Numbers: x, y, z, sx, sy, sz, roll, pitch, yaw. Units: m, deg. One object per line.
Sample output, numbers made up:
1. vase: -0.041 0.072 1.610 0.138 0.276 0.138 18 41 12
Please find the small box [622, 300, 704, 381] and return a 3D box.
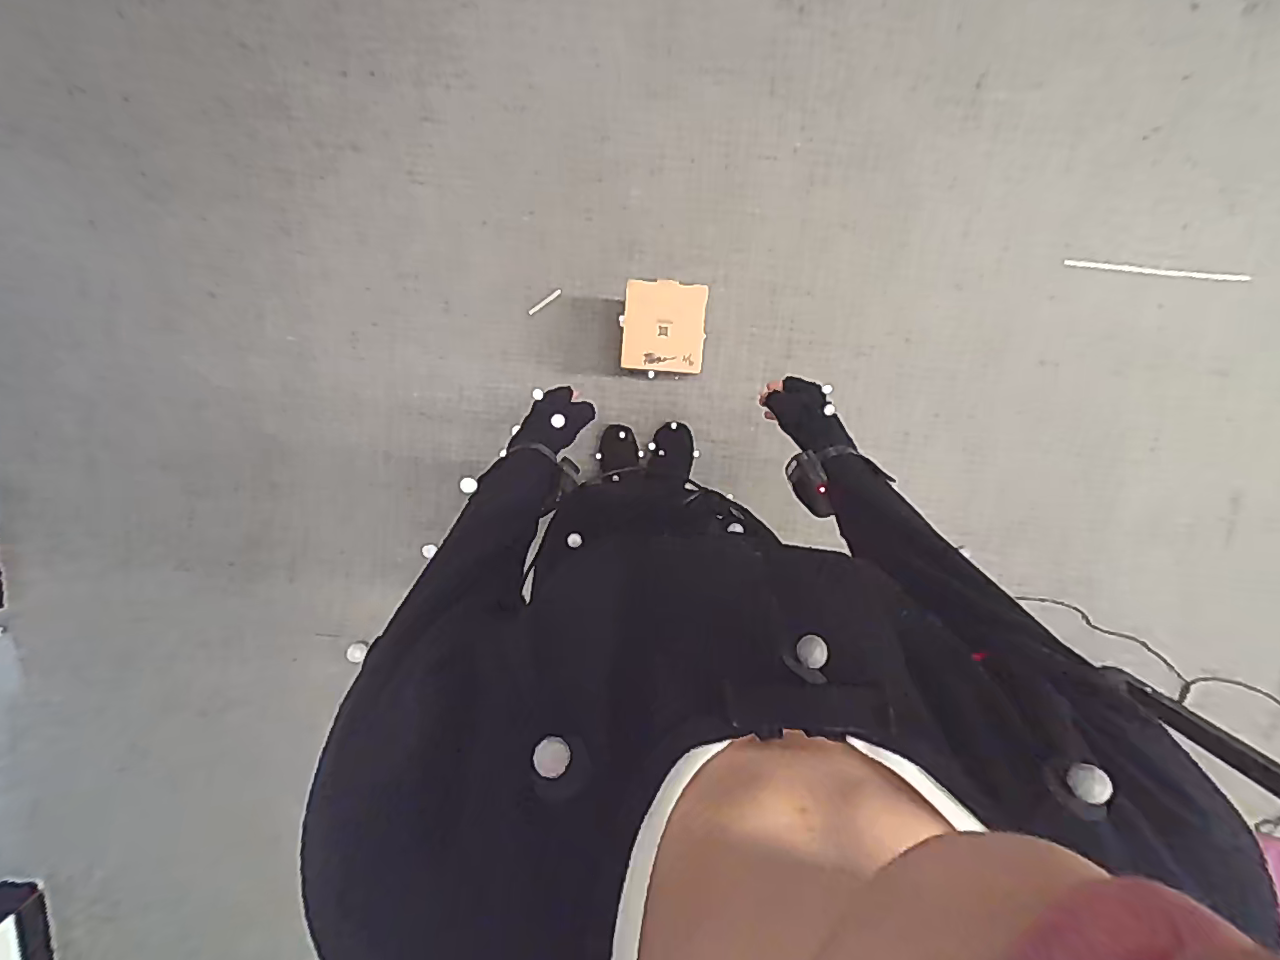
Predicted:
1. small box: 0.053 -0.336 1.328 0.179 0.176 0.168 6 99 -1
